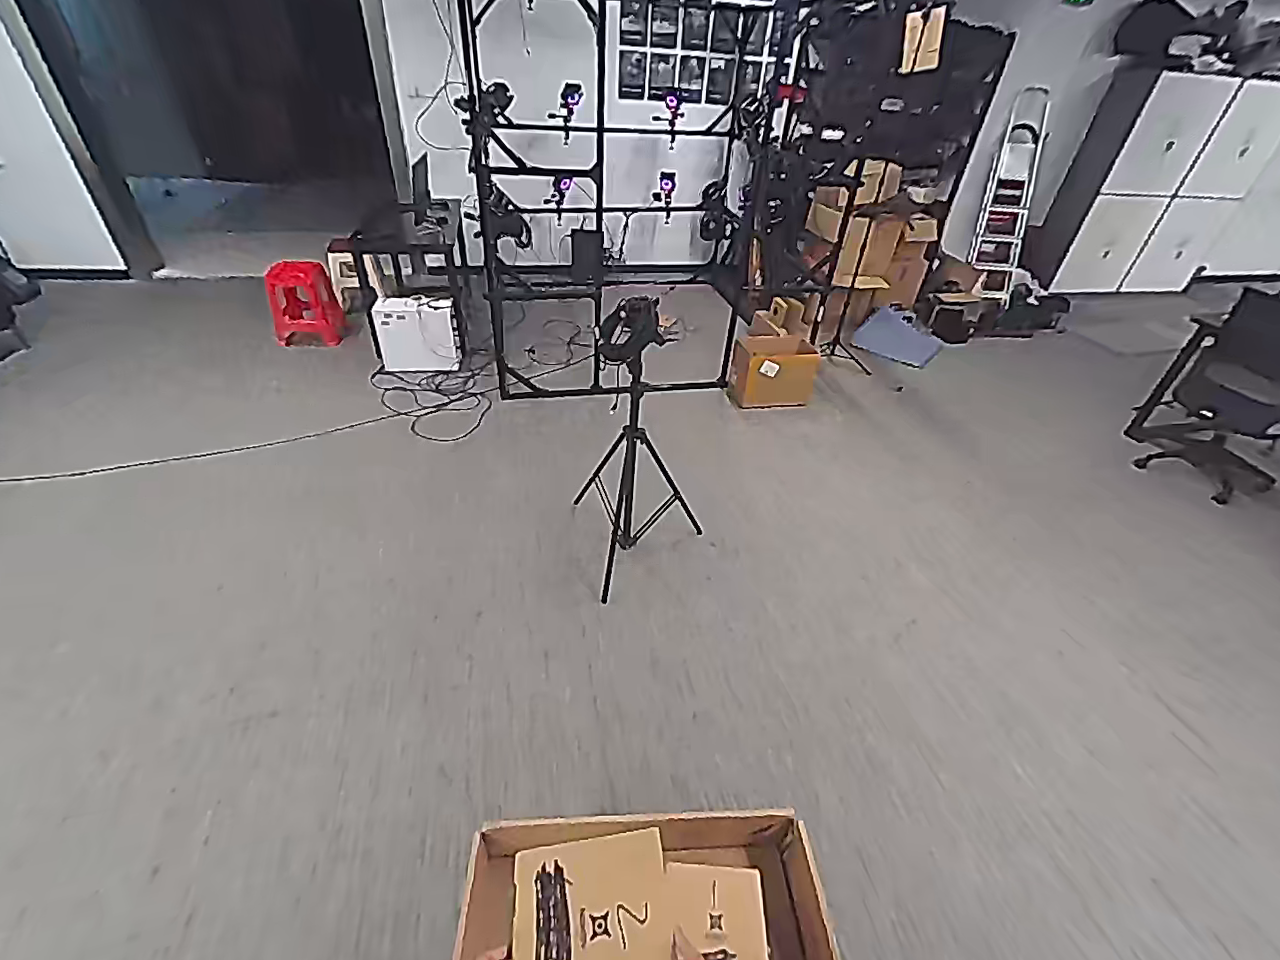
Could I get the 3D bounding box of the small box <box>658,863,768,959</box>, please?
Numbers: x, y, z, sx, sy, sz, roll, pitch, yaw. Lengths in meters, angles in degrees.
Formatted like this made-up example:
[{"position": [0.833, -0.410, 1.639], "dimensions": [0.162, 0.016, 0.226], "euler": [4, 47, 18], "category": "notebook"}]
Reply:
[{"position": [0.118, 0.786, 0.914], "dimensions": [0.168, 0.176, 0.179], "euler": [4, 36, 1], "category": "small box"}]
